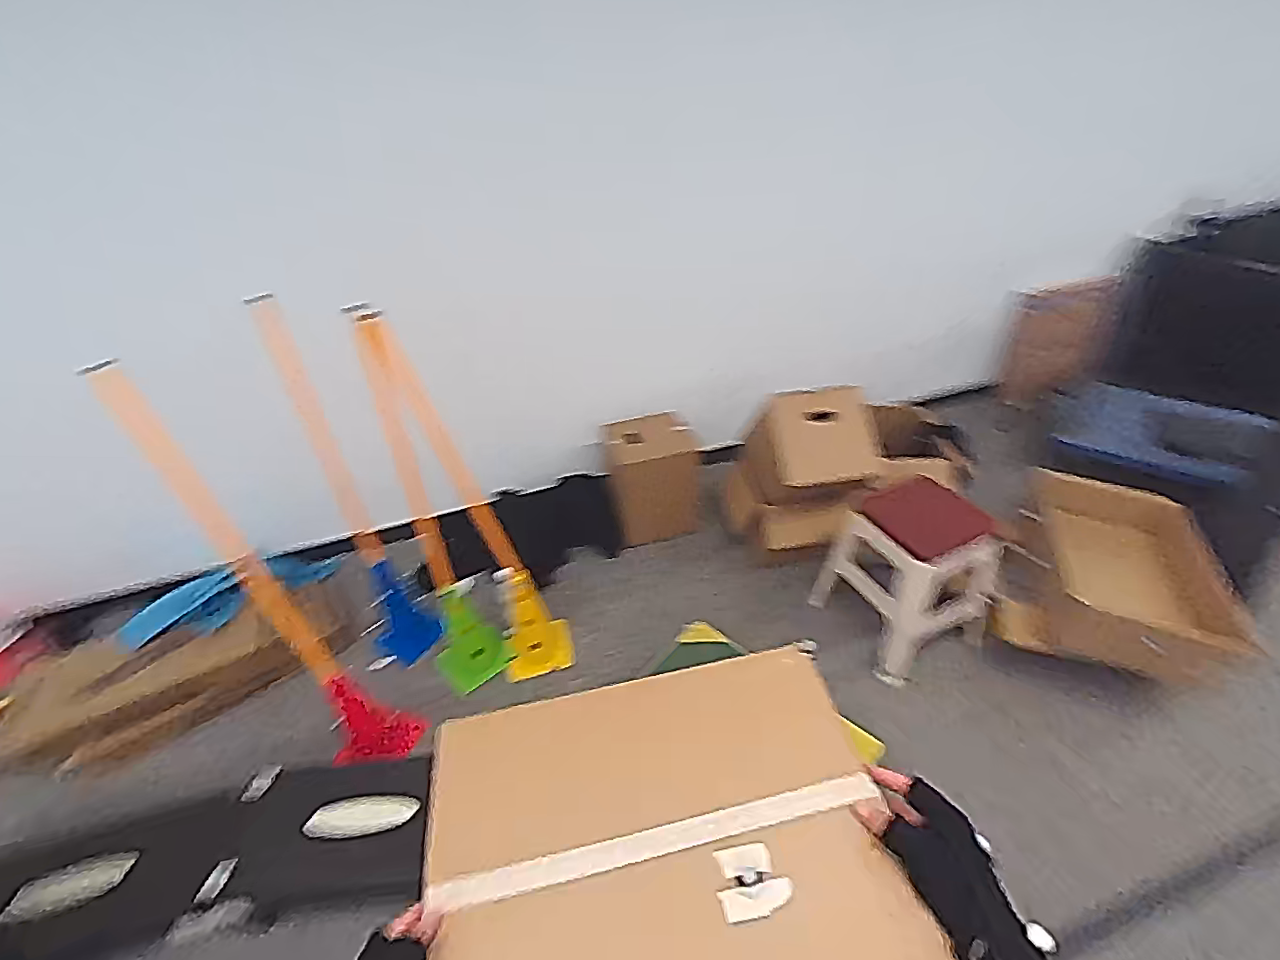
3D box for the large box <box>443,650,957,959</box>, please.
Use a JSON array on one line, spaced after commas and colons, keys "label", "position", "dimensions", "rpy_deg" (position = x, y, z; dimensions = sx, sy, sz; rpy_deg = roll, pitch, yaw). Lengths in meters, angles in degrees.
[{"label": "large box", "position": [0.034, 0.442, 0.586], "dimensions": [0.408, 0.320, 0.320], "rpy_deg": [-10, 41, -6]}]
